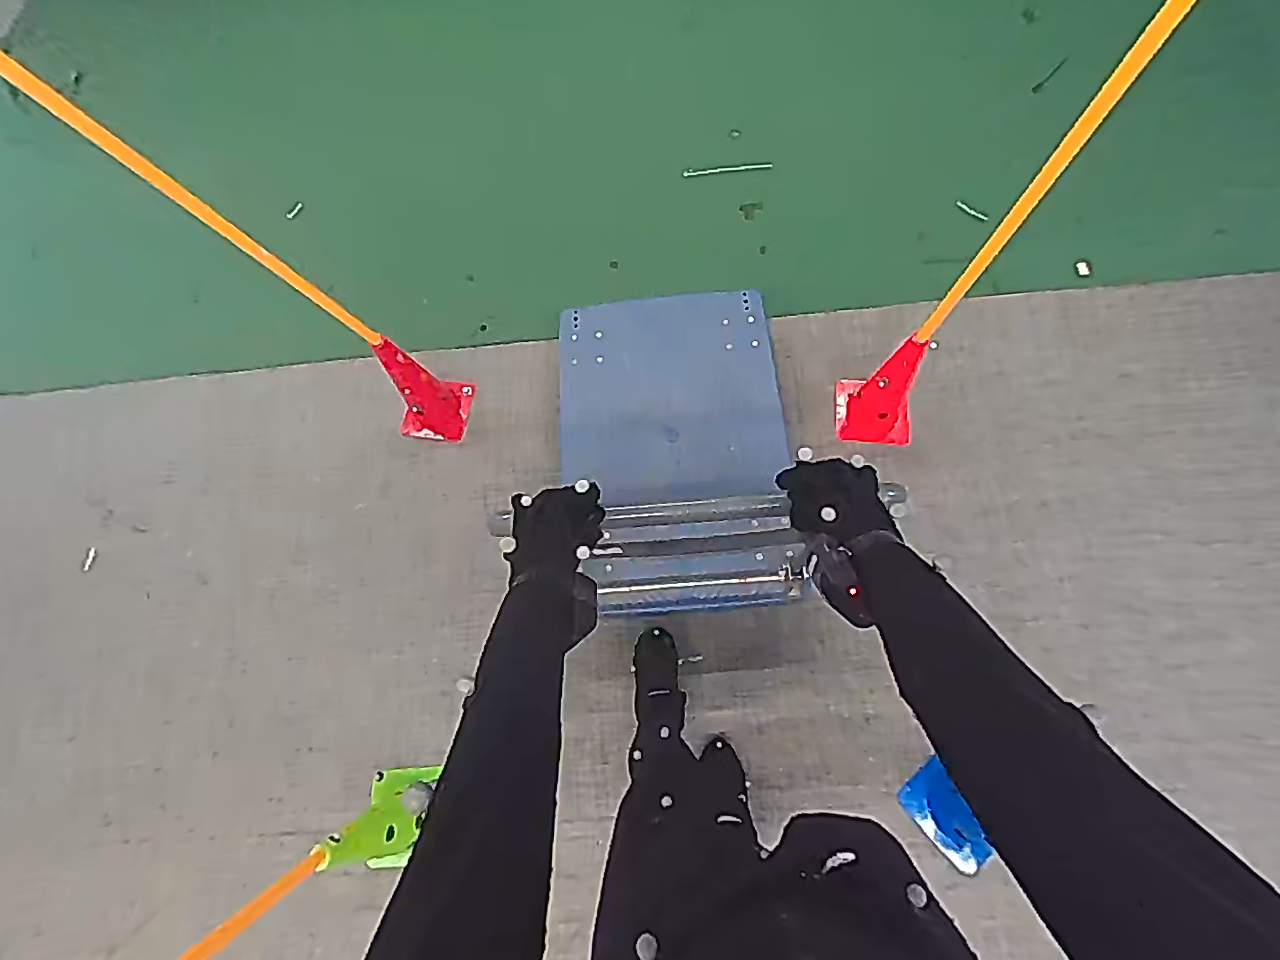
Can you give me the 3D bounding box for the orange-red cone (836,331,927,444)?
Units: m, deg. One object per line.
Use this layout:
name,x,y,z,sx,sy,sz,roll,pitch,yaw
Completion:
orange-red cone,0.650,-0.257,1.386,0.198,0.360,0.199,6,70,8
